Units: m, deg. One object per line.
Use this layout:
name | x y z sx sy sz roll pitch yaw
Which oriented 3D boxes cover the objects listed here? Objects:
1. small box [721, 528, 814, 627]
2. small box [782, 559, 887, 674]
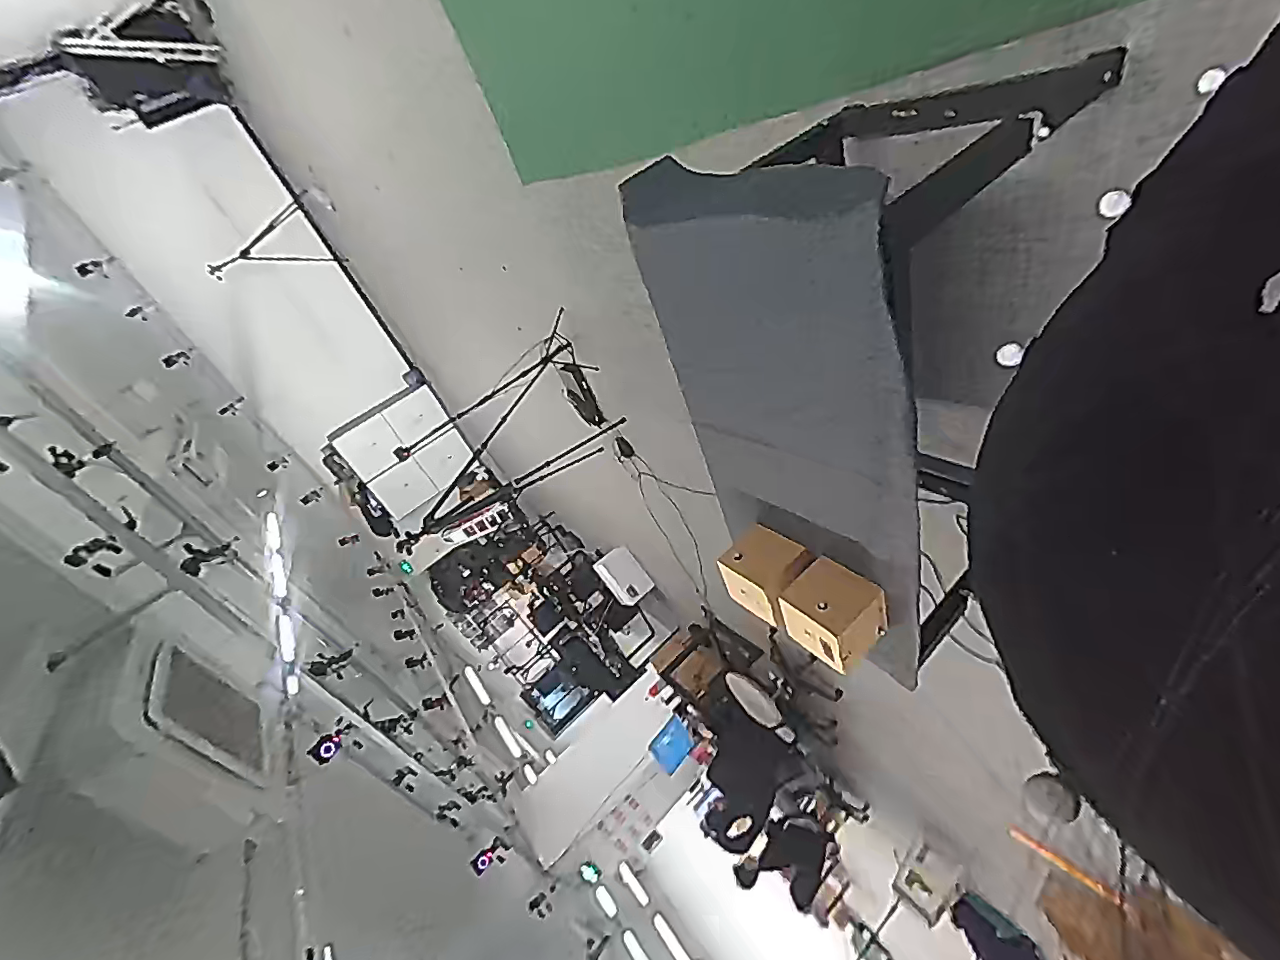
small box | 0.353 0.256 1.474 0.179 0.176 0.168 28 150 48
small box | 0.478 0.323 1.310 0.179 0.176 0.168 32 152 48
